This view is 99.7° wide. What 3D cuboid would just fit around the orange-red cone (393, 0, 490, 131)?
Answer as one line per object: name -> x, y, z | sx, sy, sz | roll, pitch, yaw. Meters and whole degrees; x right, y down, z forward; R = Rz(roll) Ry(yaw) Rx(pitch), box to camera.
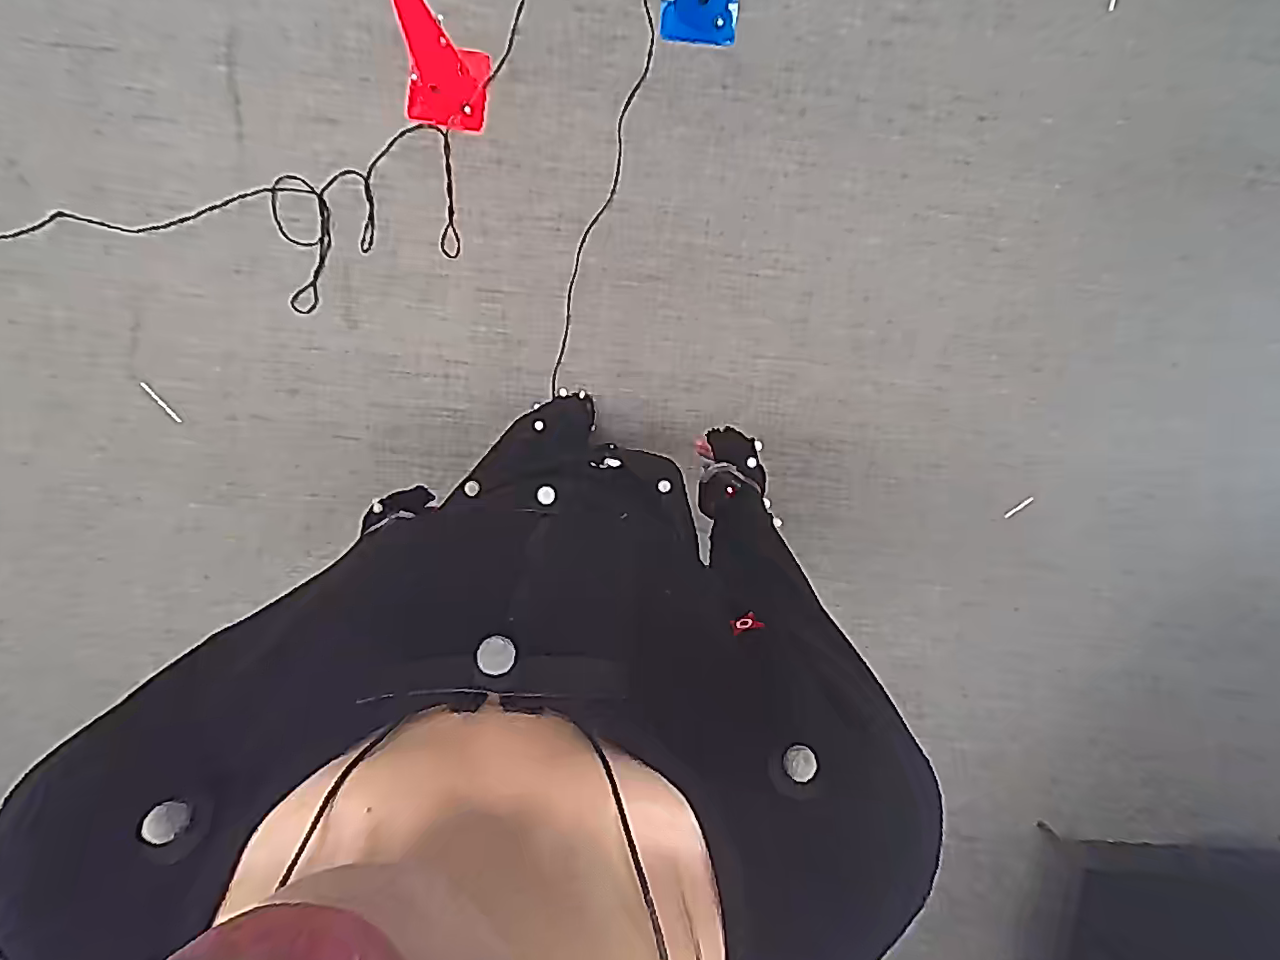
orange-red cone -> -0.485, -1.004, 1.220 | 0.198, 0.360, 0.199 | 10, 93, -4
